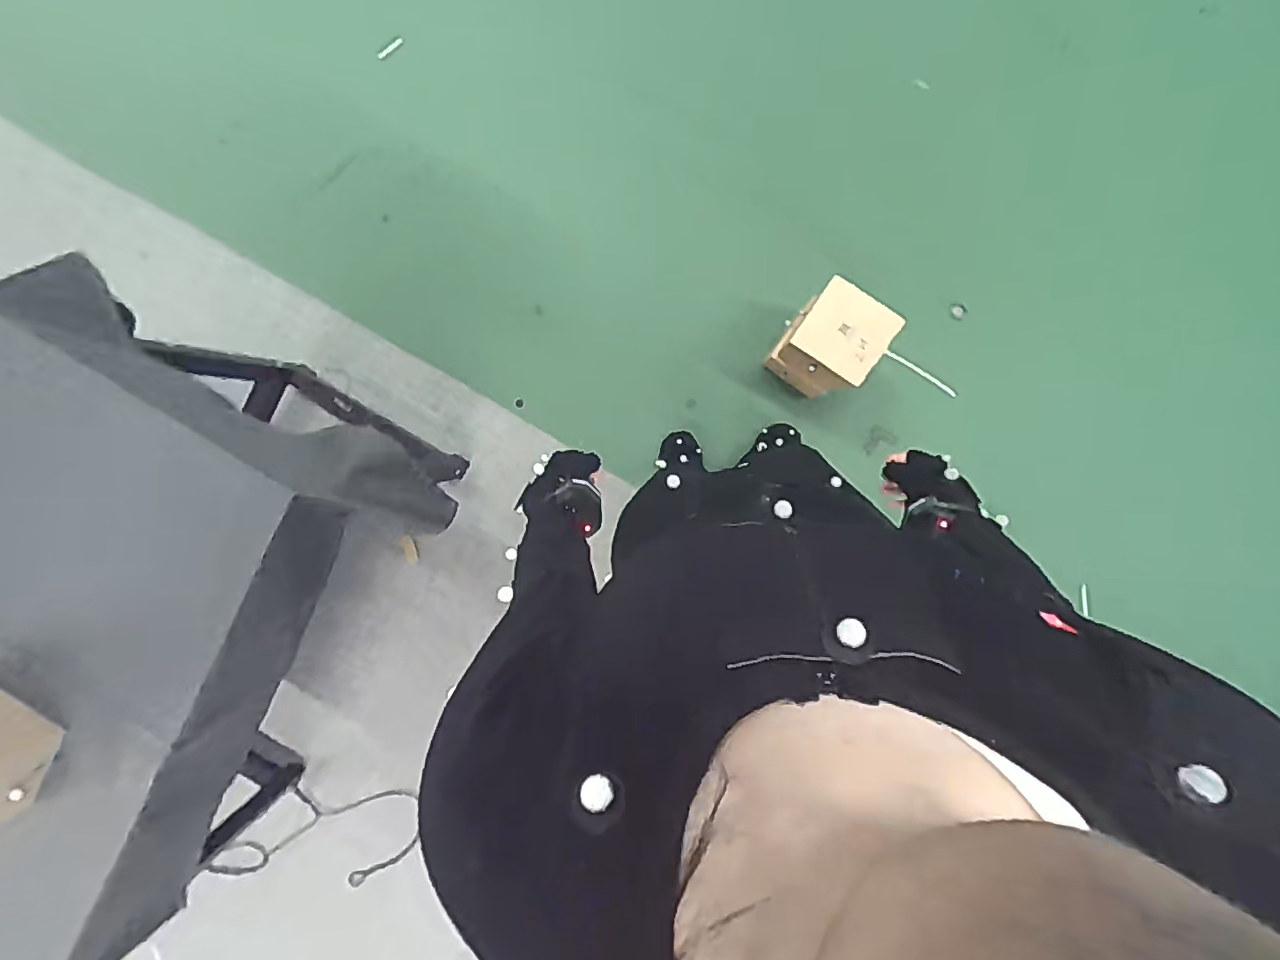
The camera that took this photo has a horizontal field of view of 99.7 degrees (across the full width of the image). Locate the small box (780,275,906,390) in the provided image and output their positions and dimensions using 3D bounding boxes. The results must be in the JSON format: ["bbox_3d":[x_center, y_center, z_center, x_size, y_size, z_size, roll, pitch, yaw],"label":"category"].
[{"bbox_3d":[0.434,-0.312,1.192,0.179,0.176,0.168,35,97,1],"label":"small box"}]

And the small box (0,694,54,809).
[{"bbox_3d":[-1.076,0.438,0.817,0.179,0.176,0.168,32,97,1],"label":"small box"}]

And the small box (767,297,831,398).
[{"bbox_3d":[0.435,-0.322,1.356,0.168,0.176,0.179,36,96,1],"label":"small box"}]
